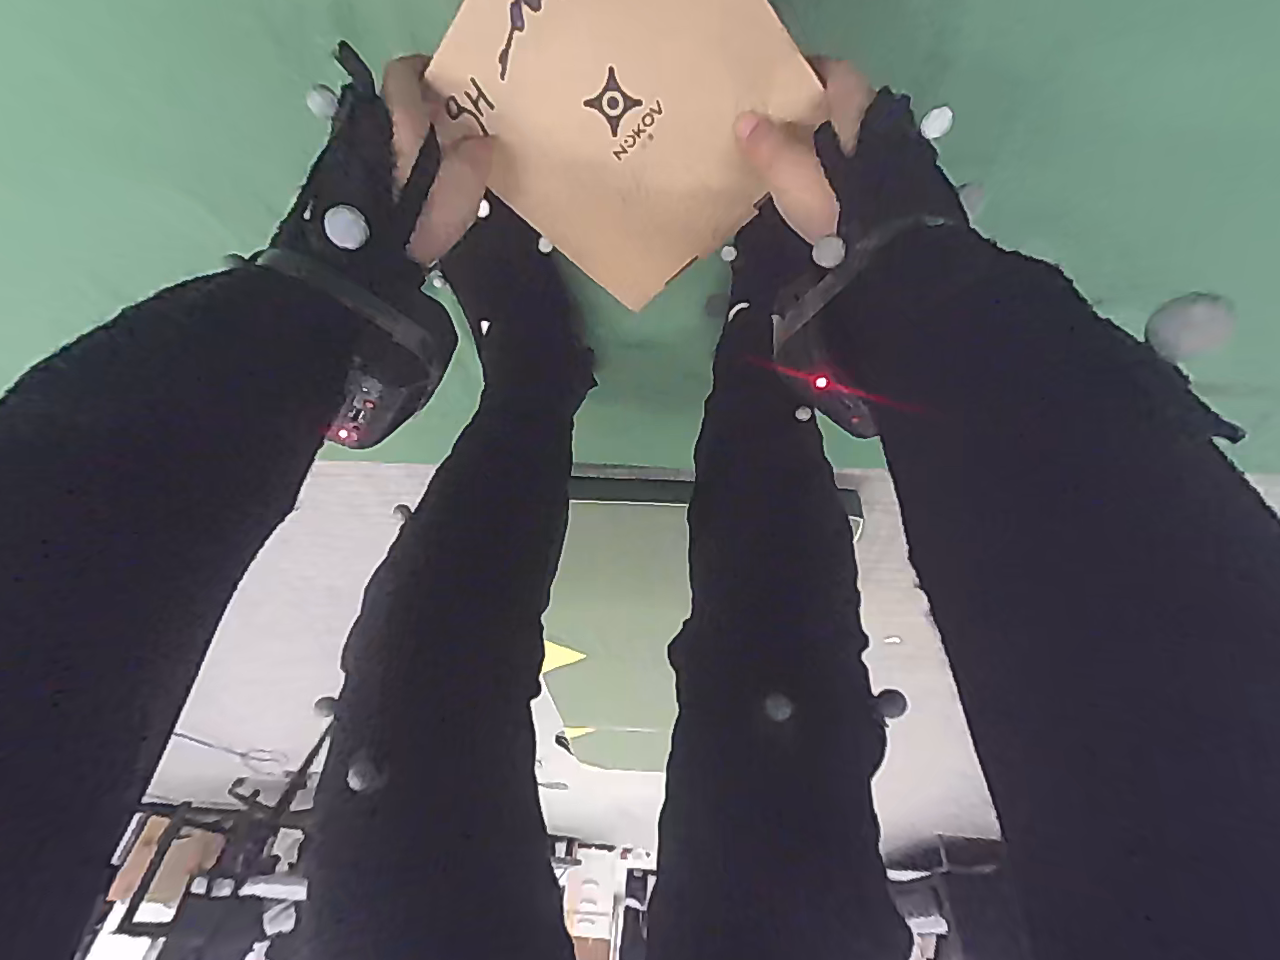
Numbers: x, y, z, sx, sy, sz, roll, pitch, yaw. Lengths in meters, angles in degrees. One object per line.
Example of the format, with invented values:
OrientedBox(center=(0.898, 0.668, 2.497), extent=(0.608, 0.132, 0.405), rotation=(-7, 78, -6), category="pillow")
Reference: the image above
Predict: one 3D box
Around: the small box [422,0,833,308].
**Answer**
OrientedBox(center=(-0.003, -0.260, 0.355), extent=(0.179, 0.176, 0.168), rotation=(34, 131, -31), category="small box")
